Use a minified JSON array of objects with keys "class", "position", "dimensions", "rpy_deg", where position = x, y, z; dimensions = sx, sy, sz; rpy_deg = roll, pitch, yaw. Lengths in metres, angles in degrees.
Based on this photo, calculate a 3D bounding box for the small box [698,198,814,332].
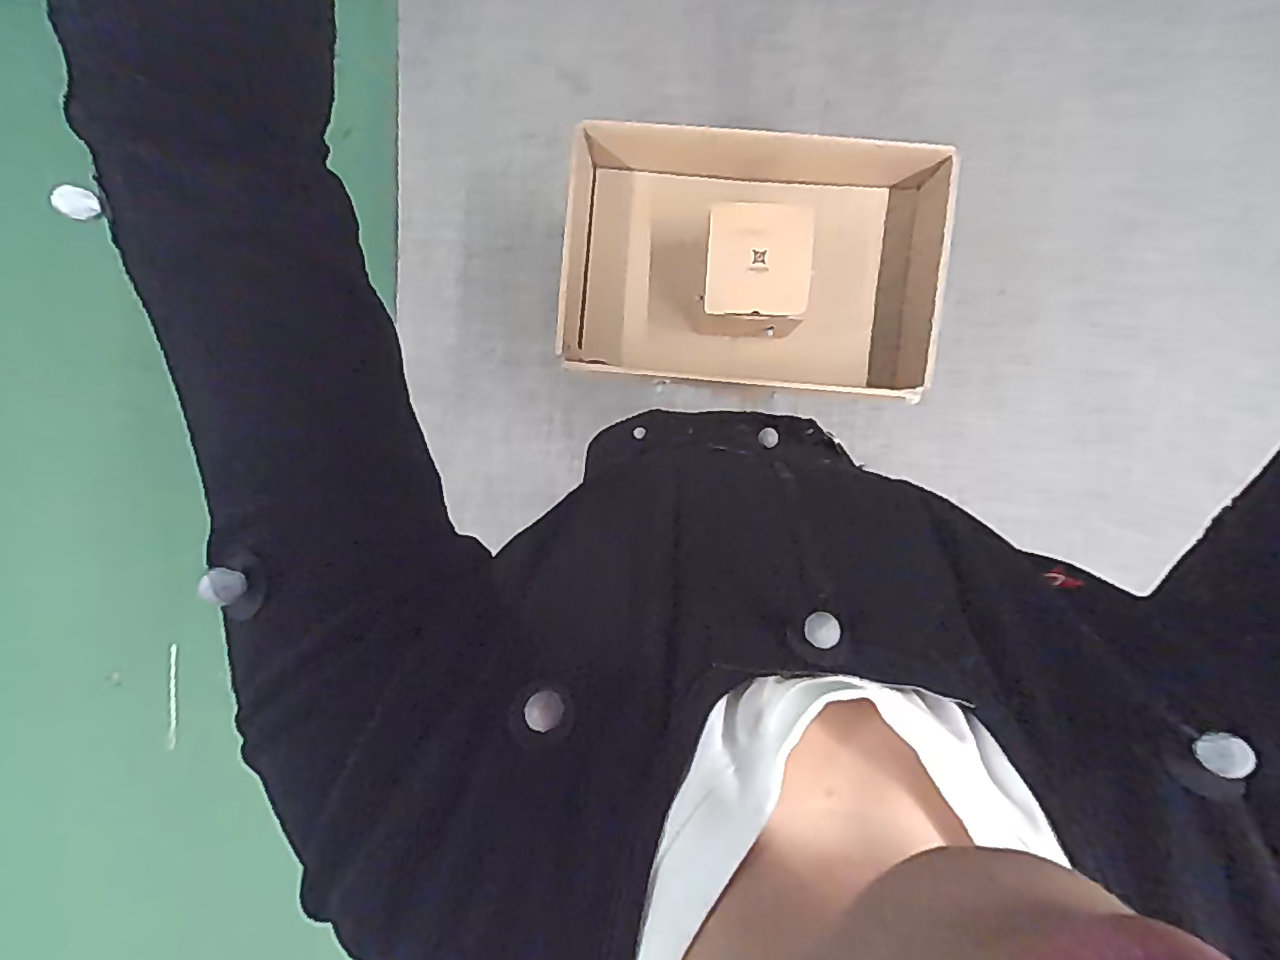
[{"class":"small box","position":[0.190,-0.359,0.934],"dimensions":[0.168,0.176,0.179],"rpy_deg":[3,93,2]}]
